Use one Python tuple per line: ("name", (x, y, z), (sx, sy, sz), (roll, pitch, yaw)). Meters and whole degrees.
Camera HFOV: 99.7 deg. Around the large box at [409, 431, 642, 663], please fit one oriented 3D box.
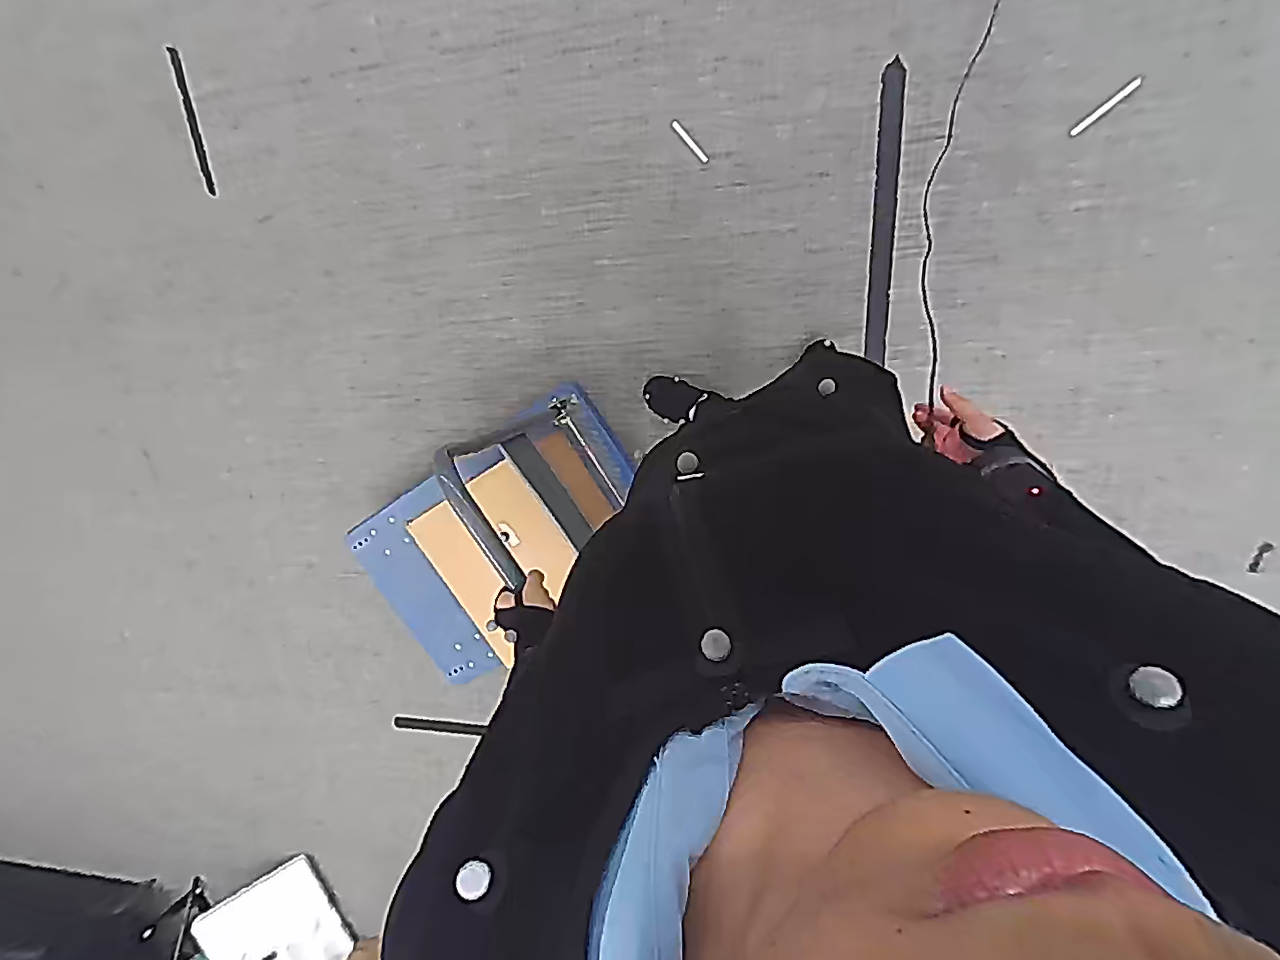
("large box", (-0.249, 0.147, 1.308), (0.320, 0.320, 0.408), (-30, 97, 17))
